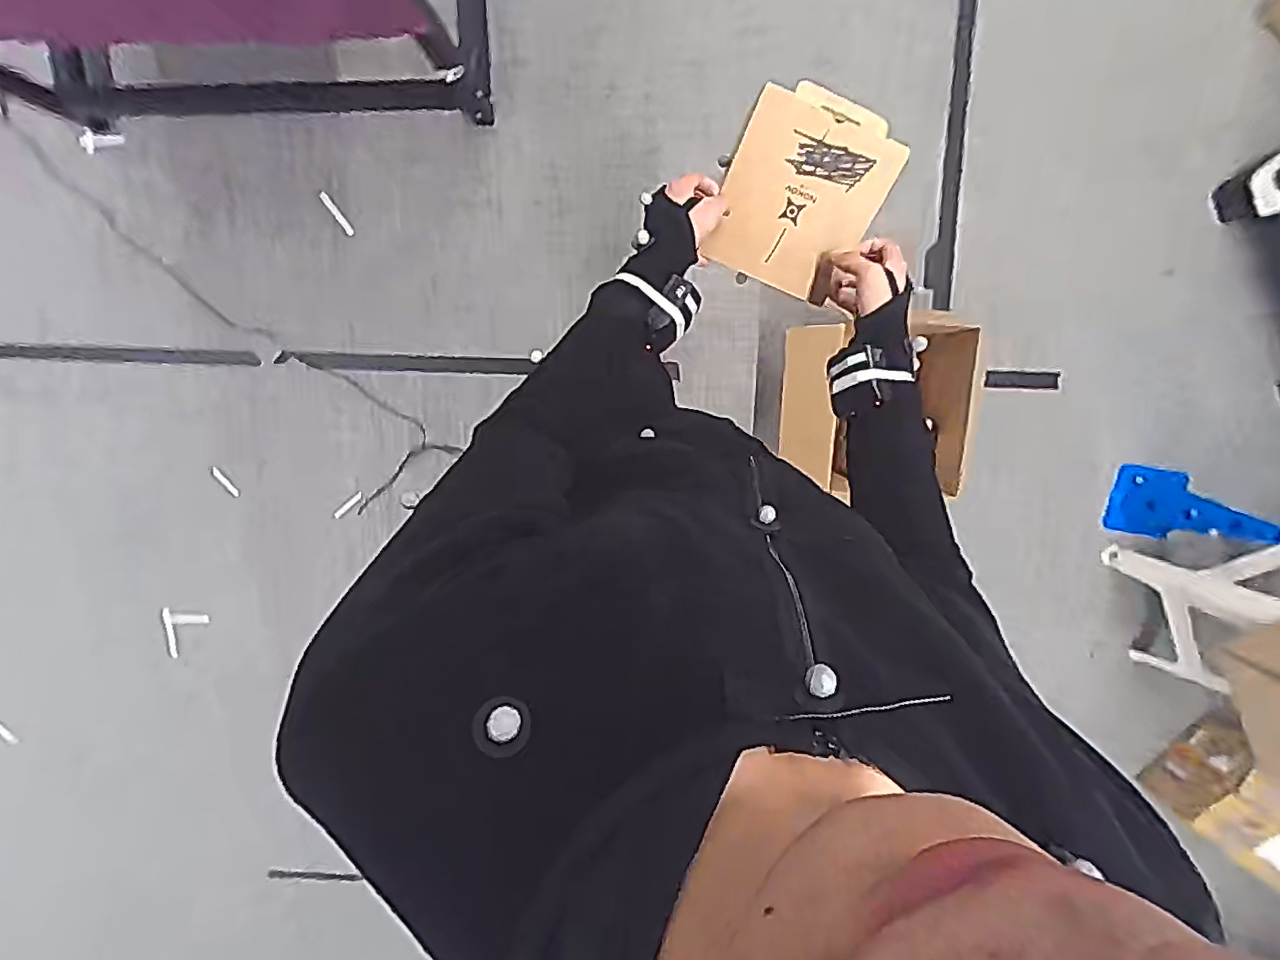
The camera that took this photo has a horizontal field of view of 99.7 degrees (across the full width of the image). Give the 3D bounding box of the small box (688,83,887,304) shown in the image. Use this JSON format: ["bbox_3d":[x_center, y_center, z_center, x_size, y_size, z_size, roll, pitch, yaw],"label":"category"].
[{"bbox_3d":[0.162,-0.343,0.671,0.168,0.176,0.179,20,115,-6],"label":"small box"}]
